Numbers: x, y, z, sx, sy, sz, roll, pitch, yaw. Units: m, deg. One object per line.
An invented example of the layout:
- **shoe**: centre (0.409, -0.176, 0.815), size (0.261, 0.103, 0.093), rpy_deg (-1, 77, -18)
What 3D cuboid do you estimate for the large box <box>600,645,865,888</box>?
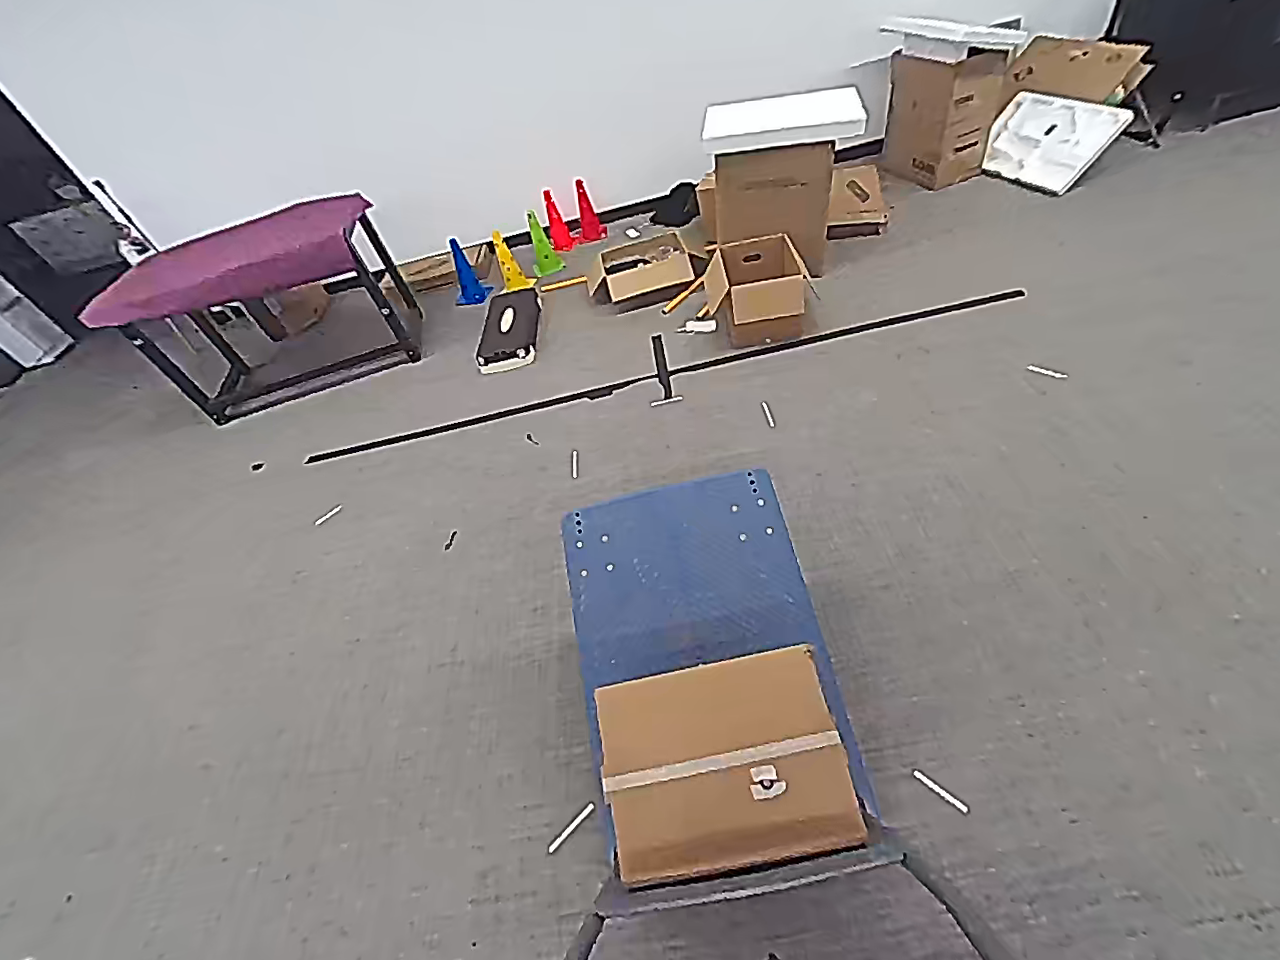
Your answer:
- **large box**: centre (0.163, 0.550, 1.079), size (0.408, 0.320, 0.320), rpy_deg (-13, 66, 2)
